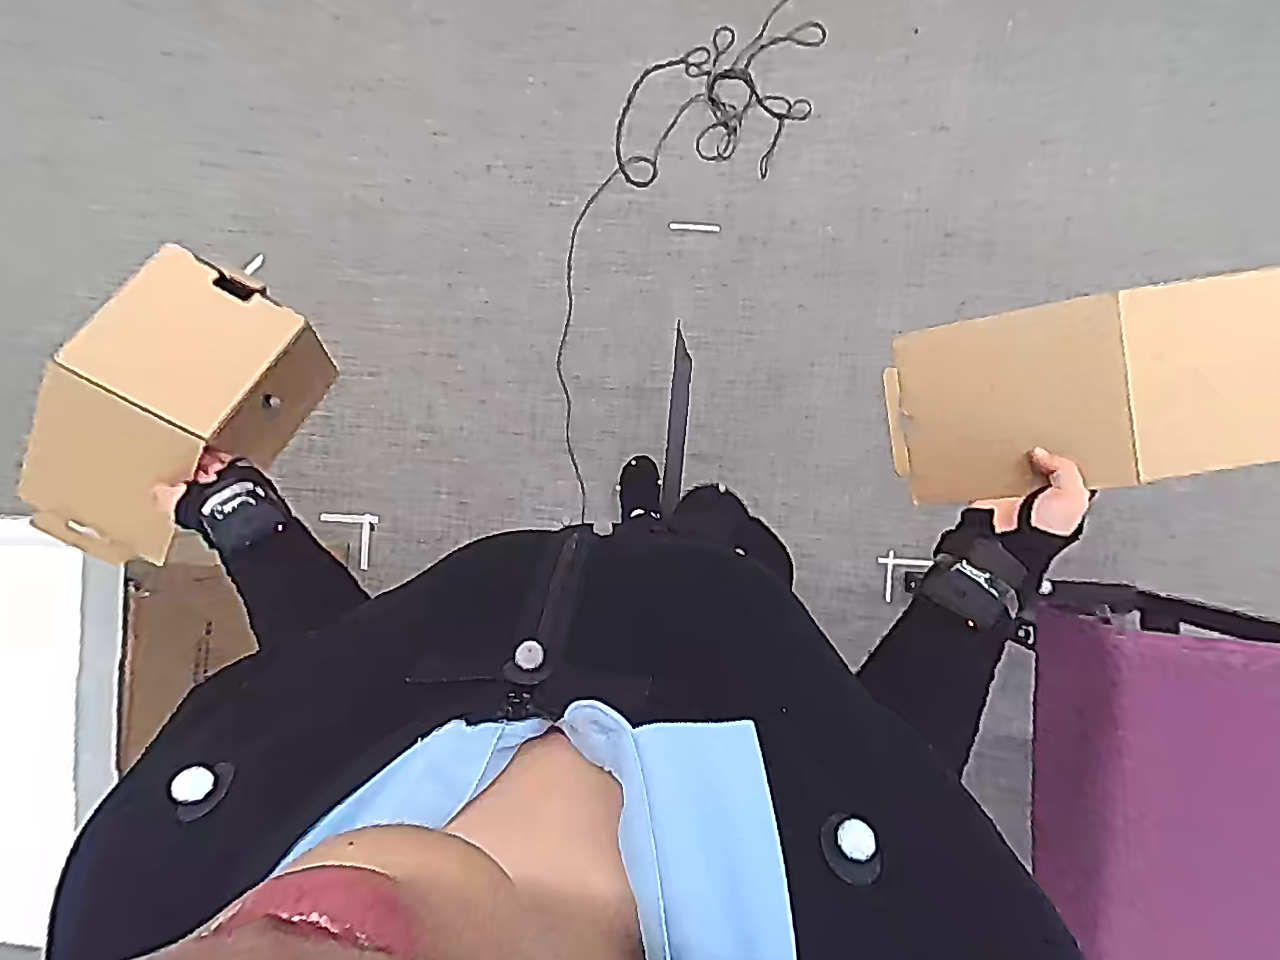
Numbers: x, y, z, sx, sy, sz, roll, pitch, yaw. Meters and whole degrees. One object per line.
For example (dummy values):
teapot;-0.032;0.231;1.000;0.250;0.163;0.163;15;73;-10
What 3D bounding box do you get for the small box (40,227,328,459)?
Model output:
small box;-0.511;-0.147;0.646;0.168;0.176;0.179;31;71;-10
